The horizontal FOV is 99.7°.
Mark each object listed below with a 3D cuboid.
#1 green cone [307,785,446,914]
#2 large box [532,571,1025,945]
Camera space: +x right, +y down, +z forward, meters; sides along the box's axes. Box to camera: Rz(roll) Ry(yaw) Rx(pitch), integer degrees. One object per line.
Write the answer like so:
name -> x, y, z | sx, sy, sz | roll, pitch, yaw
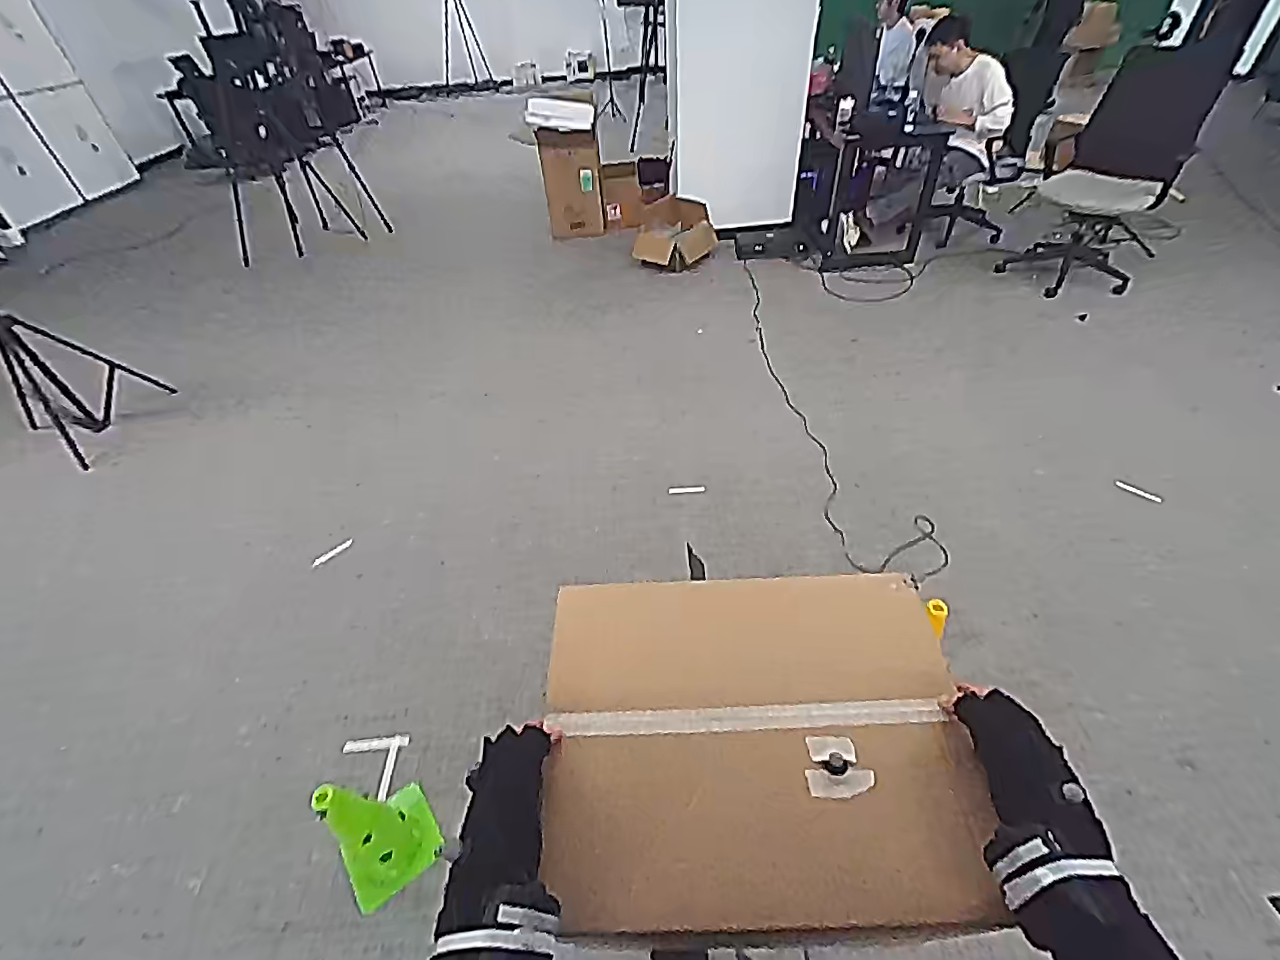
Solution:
green cone -> -0.600, 0.743, 1.164 | 0.202, 0.368, 0.200 | -33, 49, -24
large box -> 0.112, 0.330, 0.638 | 0.408, 0.320, 0.320 | -3, 47, 2
